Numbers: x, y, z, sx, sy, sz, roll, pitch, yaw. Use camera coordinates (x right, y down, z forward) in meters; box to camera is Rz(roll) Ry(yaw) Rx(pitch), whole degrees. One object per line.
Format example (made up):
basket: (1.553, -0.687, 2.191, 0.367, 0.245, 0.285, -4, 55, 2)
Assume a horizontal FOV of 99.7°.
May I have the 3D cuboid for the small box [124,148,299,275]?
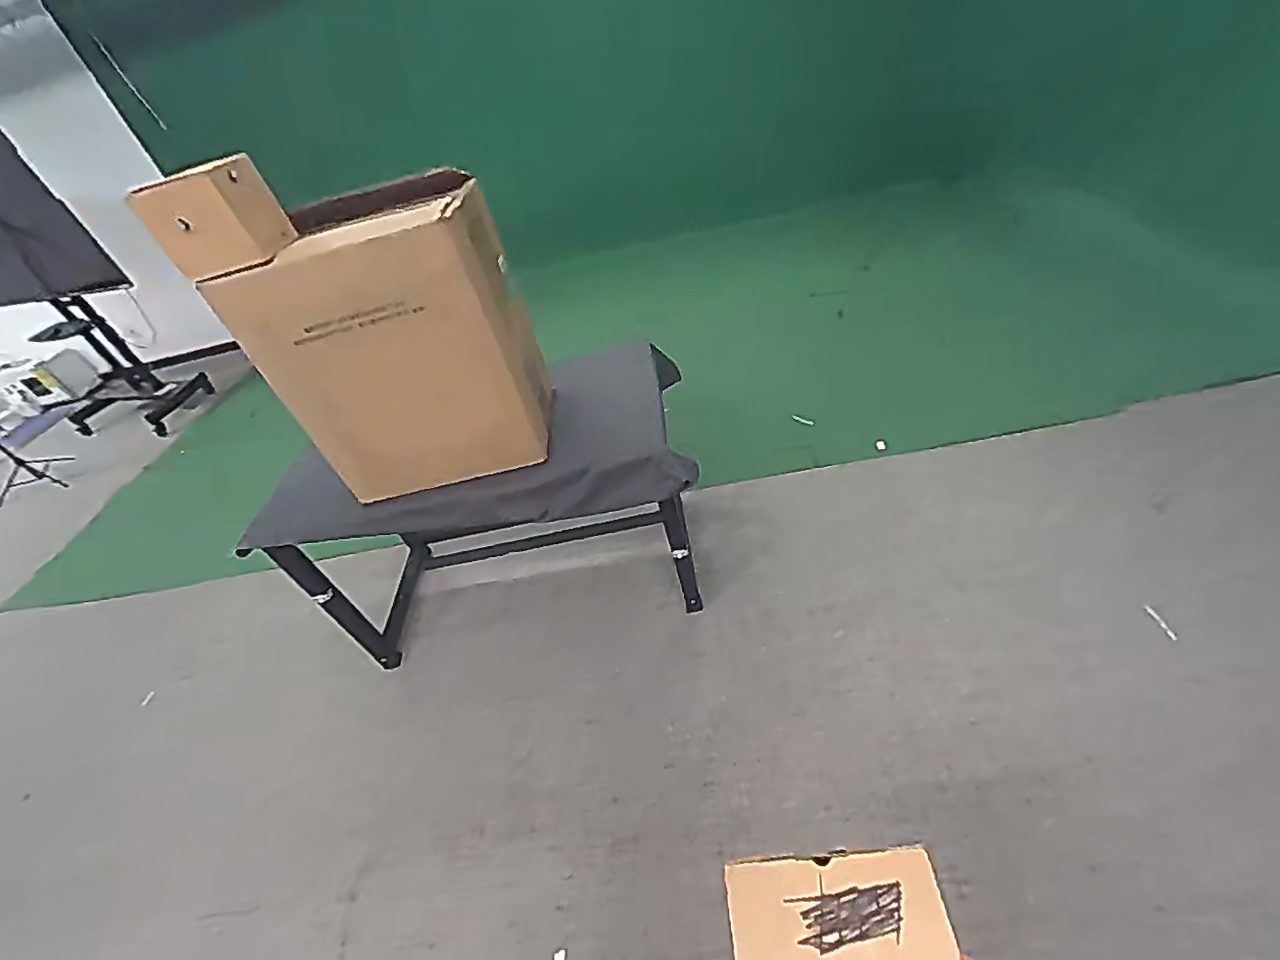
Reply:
small box: (-0.837, -0.530, 1.077, 0.179, 0.176, 0.168, -13, 42, 6)
